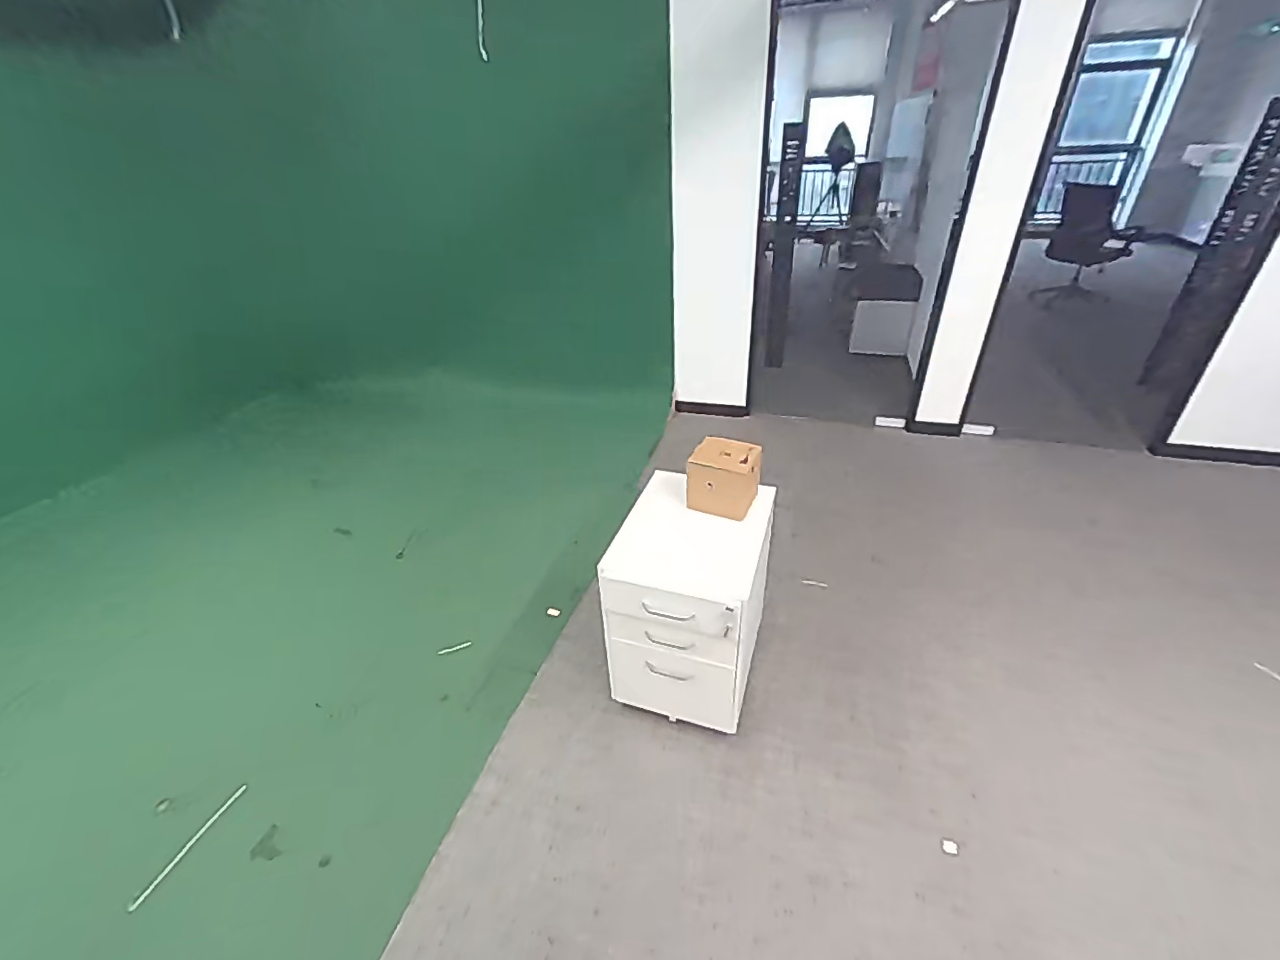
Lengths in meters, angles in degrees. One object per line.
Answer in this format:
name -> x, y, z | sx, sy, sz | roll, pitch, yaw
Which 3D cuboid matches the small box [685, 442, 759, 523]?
small box -> 0.242, 0.008, 1.600 | 0.179, 0.176, 0.168 | 13, 36, 24
